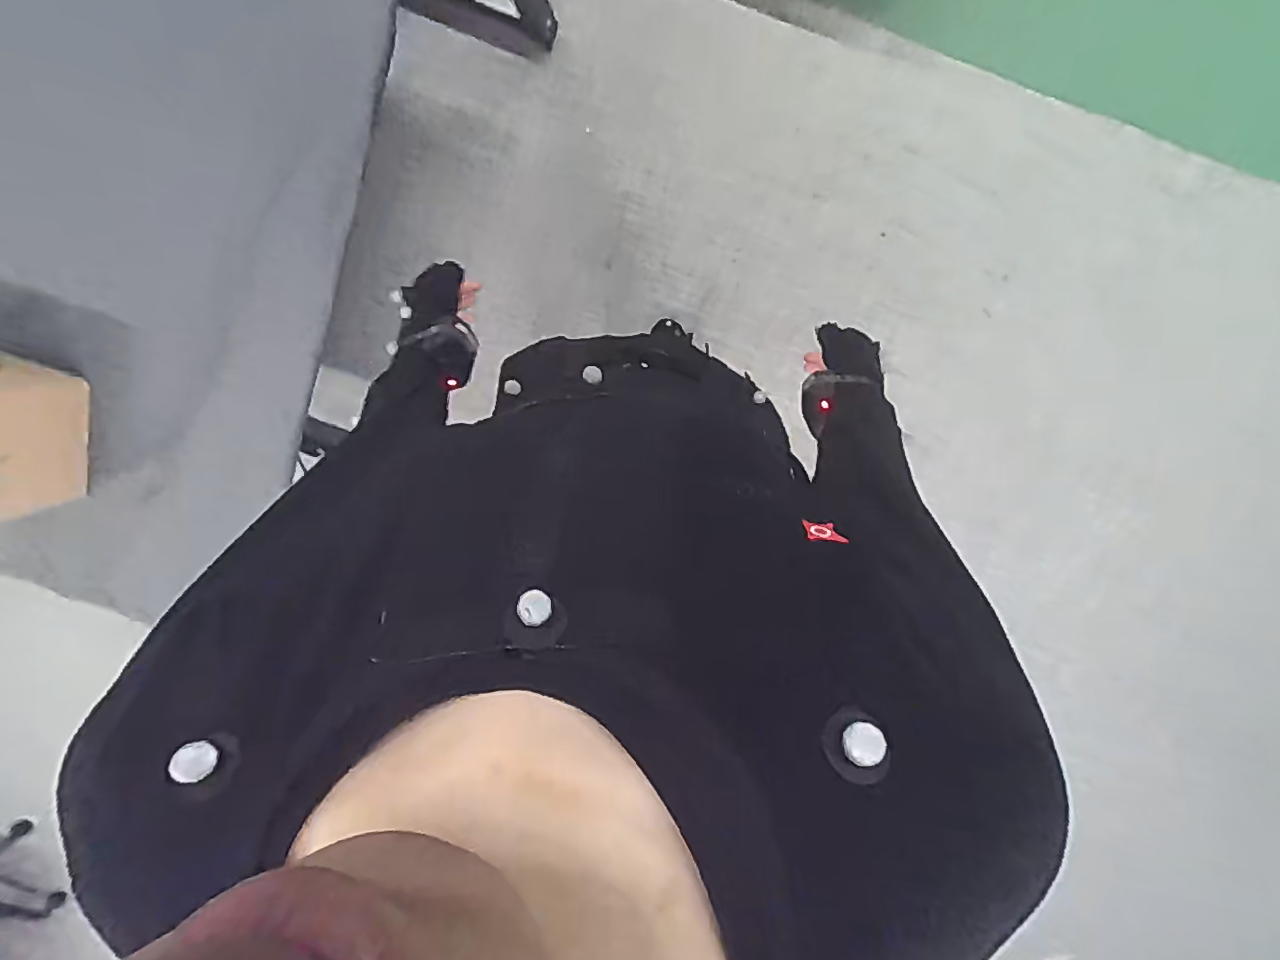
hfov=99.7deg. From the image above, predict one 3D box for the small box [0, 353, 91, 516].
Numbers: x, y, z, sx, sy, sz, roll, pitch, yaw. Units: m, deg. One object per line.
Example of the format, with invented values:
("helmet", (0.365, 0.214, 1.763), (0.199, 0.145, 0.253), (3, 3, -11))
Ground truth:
("small box", (-0.851, -0.055, 0.678), (0.168, 0.176, 0.179), (18, 105, -2))
